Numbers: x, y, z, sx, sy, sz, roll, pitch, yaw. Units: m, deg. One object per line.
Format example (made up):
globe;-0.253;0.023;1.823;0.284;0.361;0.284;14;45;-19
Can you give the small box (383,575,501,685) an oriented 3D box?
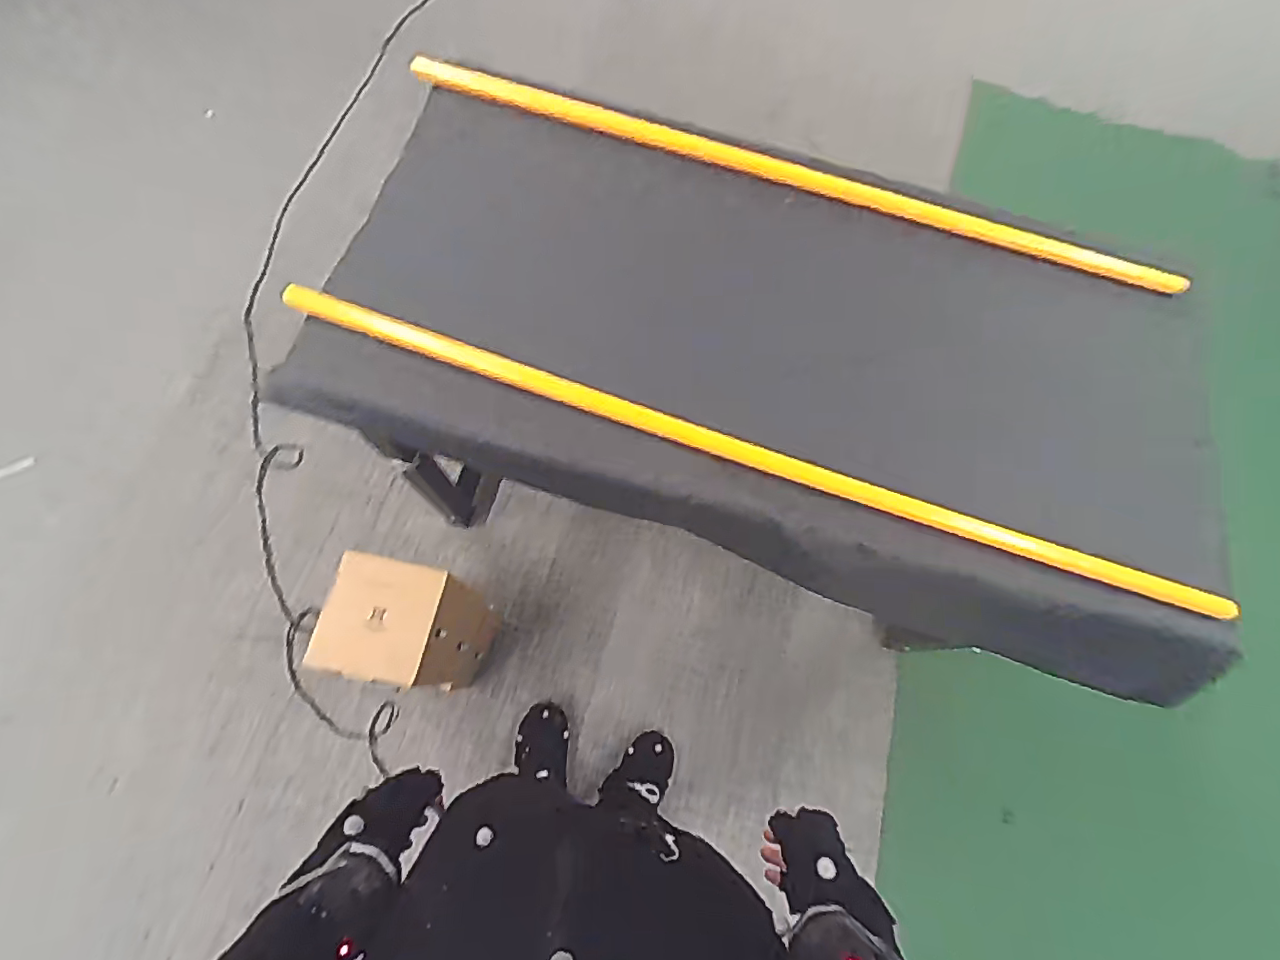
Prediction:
small box;-0.423;0.332;1.196;0.168;0.176;0.179;24;72;4
